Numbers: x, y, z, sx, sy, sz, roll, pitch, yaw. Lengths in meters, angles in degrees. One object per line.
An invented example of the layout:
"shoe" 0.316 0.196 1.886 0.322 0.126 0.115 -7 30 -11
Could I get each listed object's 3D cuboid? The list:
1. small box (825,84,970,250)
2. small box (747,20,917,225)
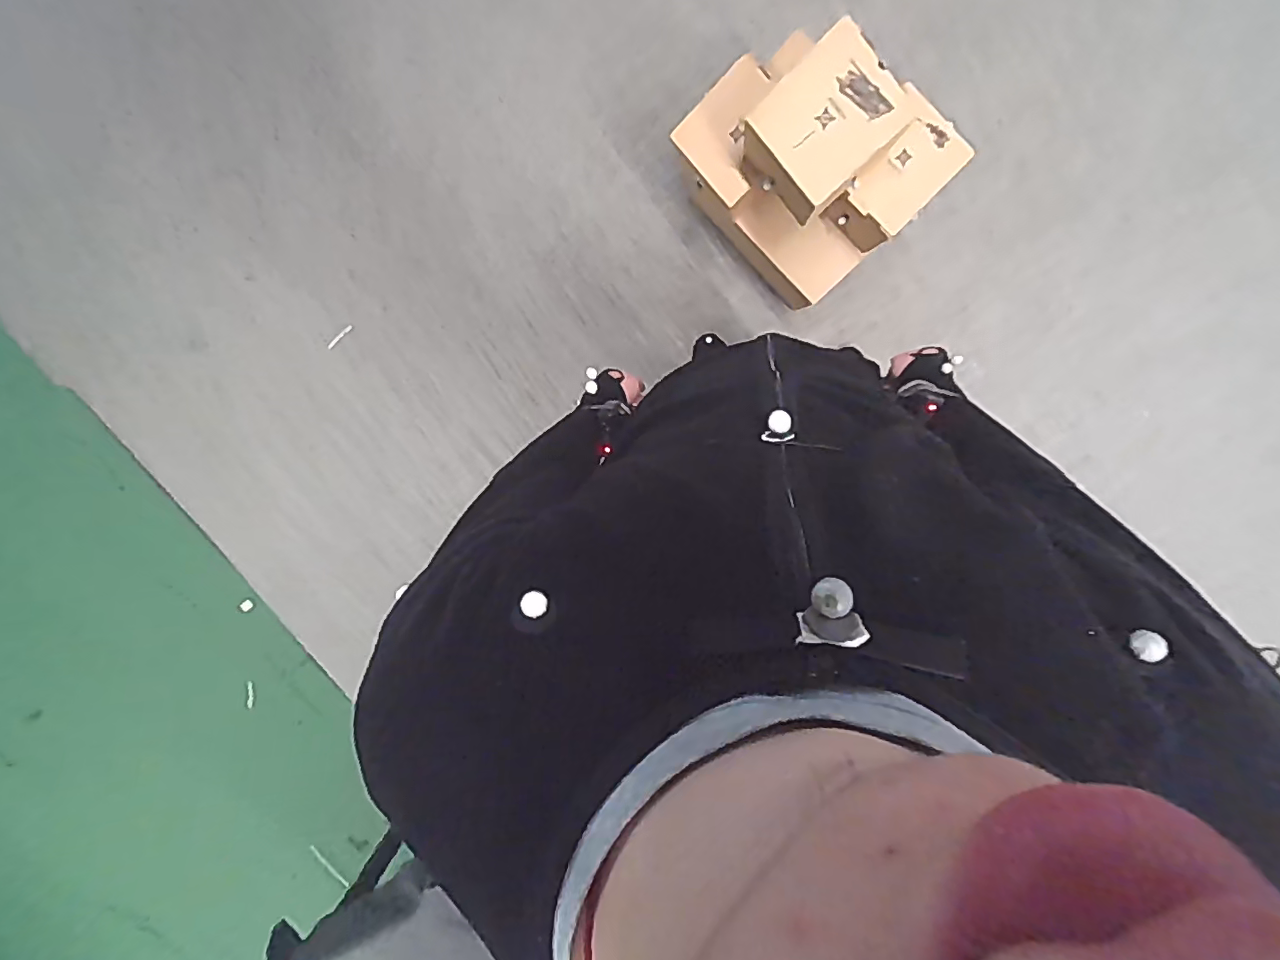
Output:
"small box" 0.438 -0.544 0.974 0.168 0.176 0.179 44 106 -4
"small box" 0.278 -0.528 0.832 0.179 0.176 0.168 -39 95 18
